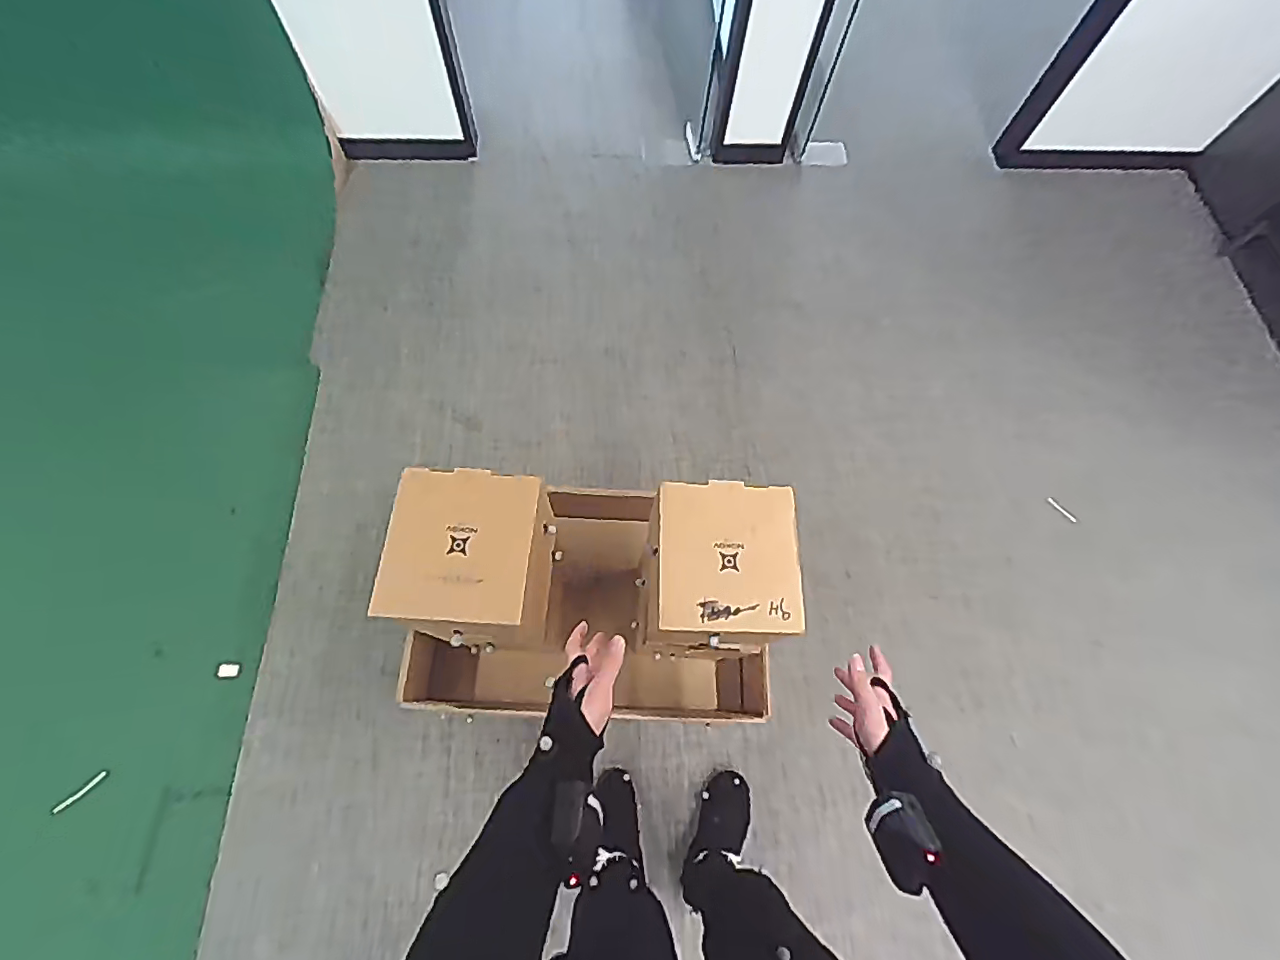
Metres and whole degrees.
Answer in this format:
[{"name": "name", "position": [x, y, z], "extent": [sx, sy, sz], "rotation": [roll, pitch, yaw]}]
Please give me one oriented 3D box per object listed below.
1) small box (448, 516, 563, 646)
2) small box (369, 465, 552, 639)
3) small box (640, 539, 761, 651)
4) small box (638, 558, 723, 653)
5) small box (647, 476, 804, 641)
[{"name": "small box", "position": [-0.215, 0.156, 0.839], "extent": [0.168, 0.176, 0.179], "rotation": [4, 69, 0]}, {"name": "small box", "position": [-0.208, 0.098, 0.686], "extent": [0.168, 0.176, 0.179], "rotation": [4, 68, 0]}, {"name": "small box", "position": [0.089, 0.171, 0.847], "extent": [0.168, 0.176, 0.179], "rotation": [4, 69, -2]}, {"name": "small box", "position": [0.085, 0.223, 1.004], "extent": [0.168, 0.176, 0.179], "rotation": [3, 70, -2]}, {"name": "small box", "position": [0.096, 0.108, 0.697], "extent": [0.168, 0.176, 0.179], "rotation": [2, 69, -3]}]
